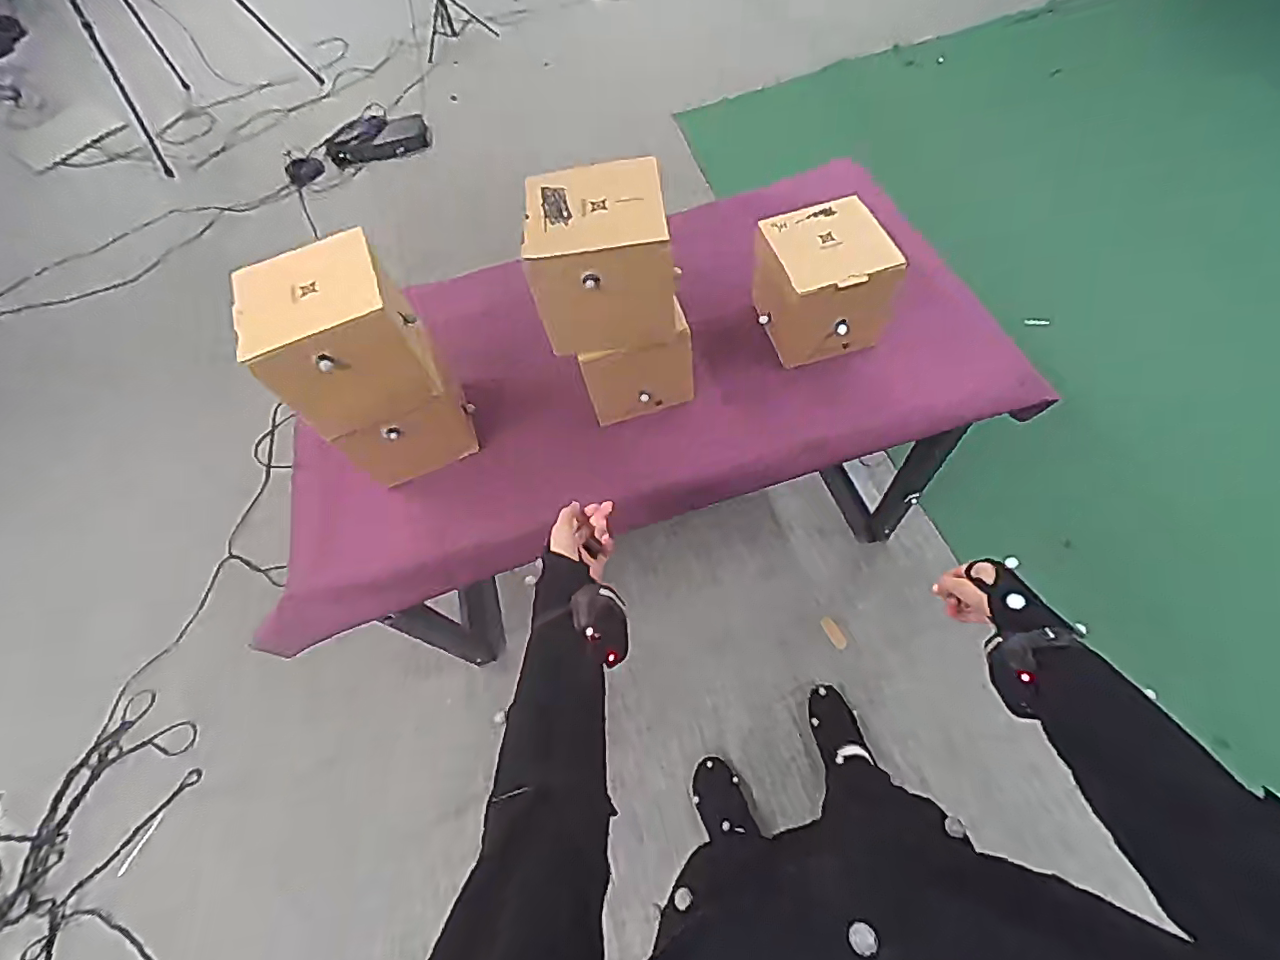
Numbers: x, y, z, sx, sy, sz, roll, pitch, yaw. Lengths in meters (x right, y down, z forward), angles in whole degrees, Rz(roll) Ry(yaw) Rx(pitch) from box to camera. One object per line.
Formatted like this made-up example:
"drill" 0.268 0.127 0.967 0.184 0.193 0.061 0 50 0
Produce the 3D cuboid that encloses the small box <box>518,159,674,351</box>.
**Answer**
"small box" -0.052 -0.293 0.729 0.179 0.176 0.168 -7 61 3

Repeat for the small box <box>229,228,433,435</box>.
"small box" -0.399 -0.191 0.724 0.179 0.176 0.168 -24 62 -5

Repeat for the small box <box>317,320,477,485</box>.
"small box" -0.387 -0.116 0.867 0.179 0.176 0.168 -21 62 -5

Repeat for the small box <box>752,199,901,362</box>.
"small box" 0.289 -0.314 0.883 0.168 0.176 0.179 -15 61 0

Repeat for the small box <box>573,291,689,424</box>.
"small box" -0.023 -0.220 0.874 0.168 0.176 0.179 -16 61 -1
